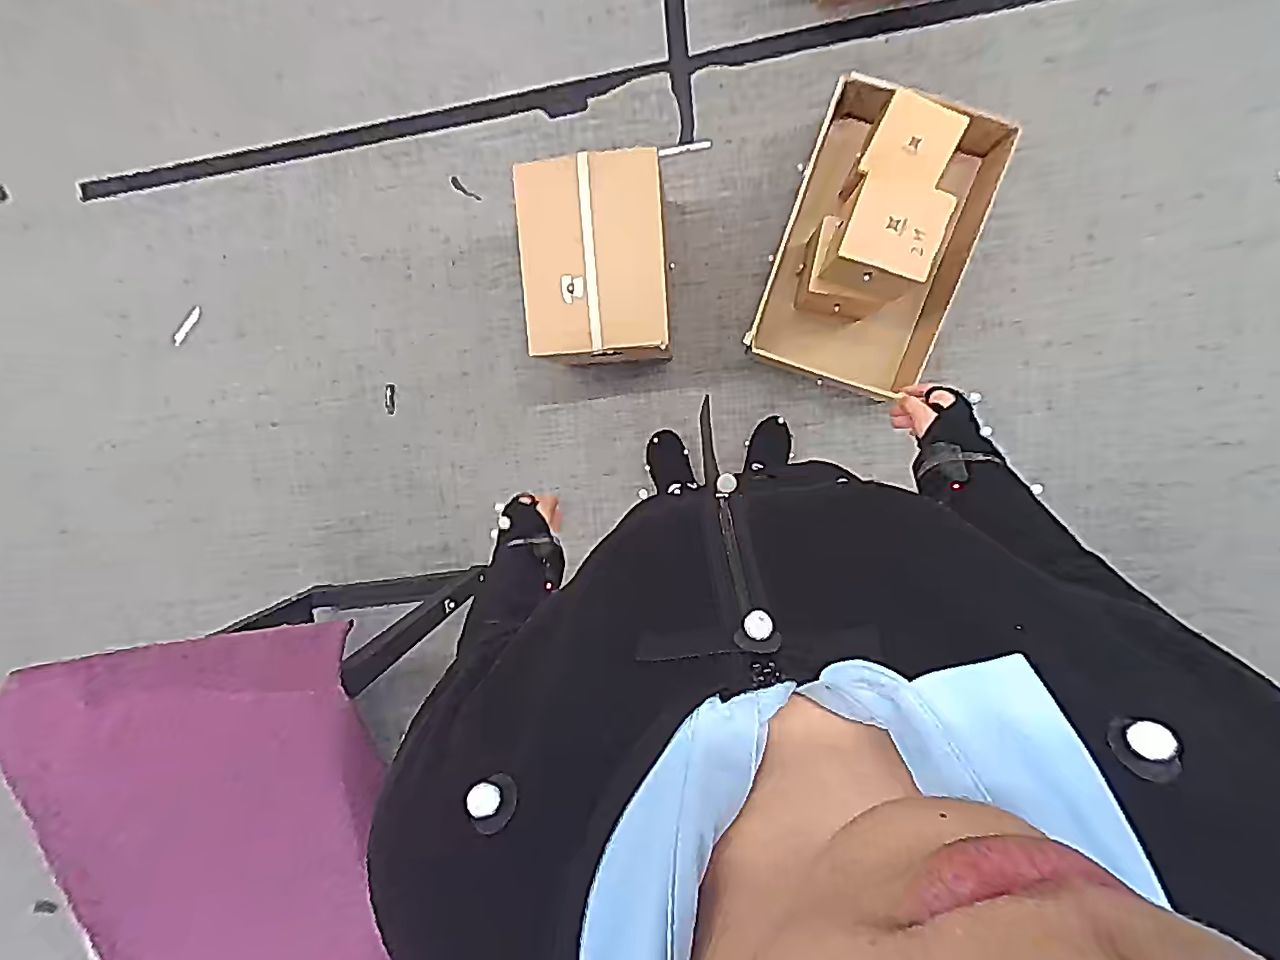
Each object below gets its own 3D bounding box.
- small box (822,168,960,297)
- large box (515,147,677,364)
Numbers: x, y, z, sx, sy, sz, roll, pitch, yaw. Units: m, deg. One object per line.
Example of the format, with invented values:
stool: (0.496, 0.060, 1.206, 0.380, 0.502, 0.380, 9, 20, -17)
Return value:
small box: (0.491, -0.485, 1.088, 0.179, 0.176, 0.168, 20, 98, 2)
large box: (-0.081, -0.499, 1.293, 0.320, 0.320, 0.408, -3, 99, 8)
